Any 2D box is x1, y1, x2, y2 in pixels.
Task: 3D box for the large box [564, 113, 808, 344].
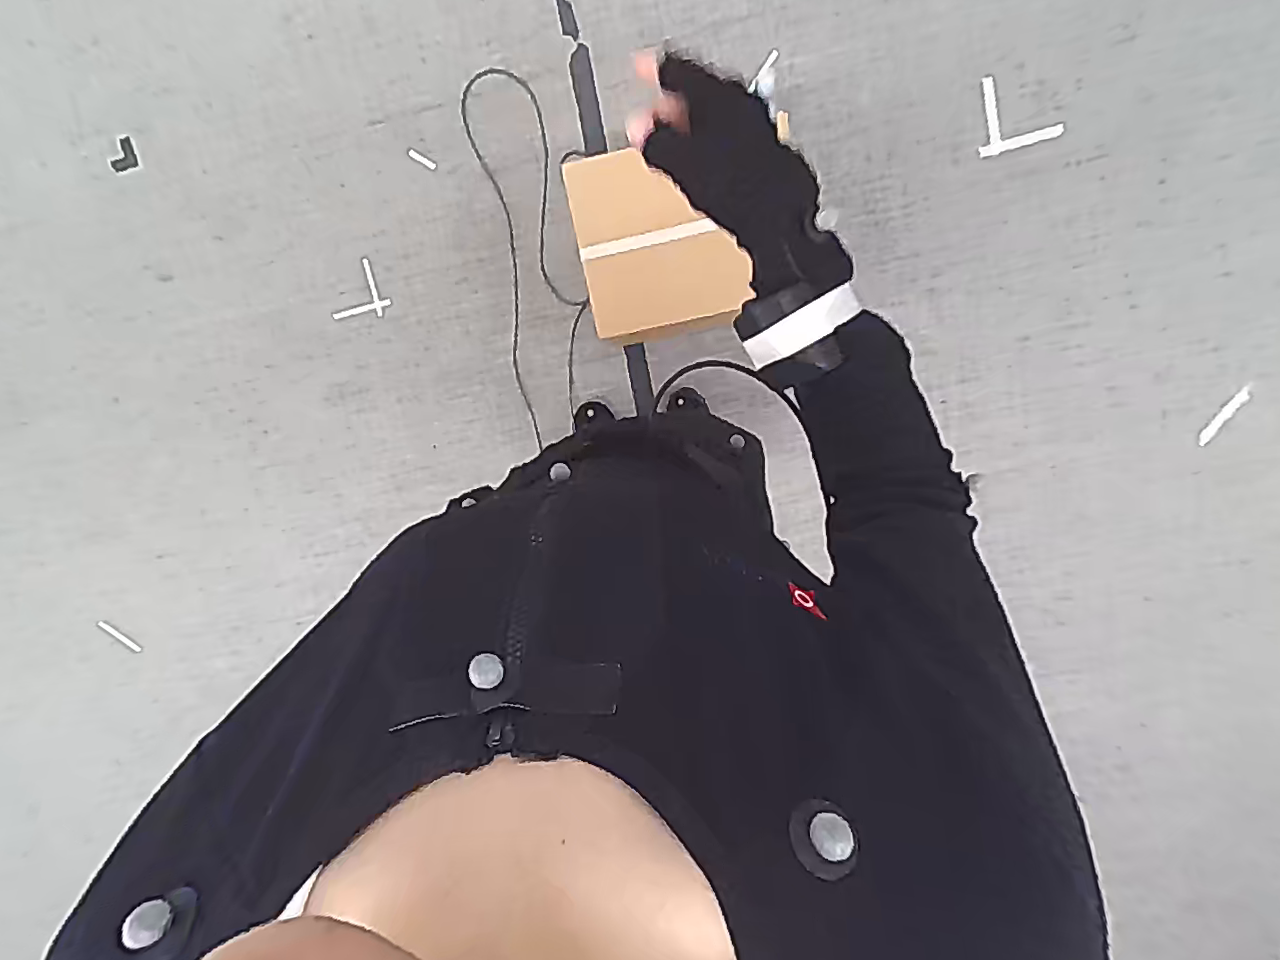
[{"bbox_3d":[0.094,-0.485,1.128,0.408,0.320,0.320,-11,100,5],"label":"large box"}]
